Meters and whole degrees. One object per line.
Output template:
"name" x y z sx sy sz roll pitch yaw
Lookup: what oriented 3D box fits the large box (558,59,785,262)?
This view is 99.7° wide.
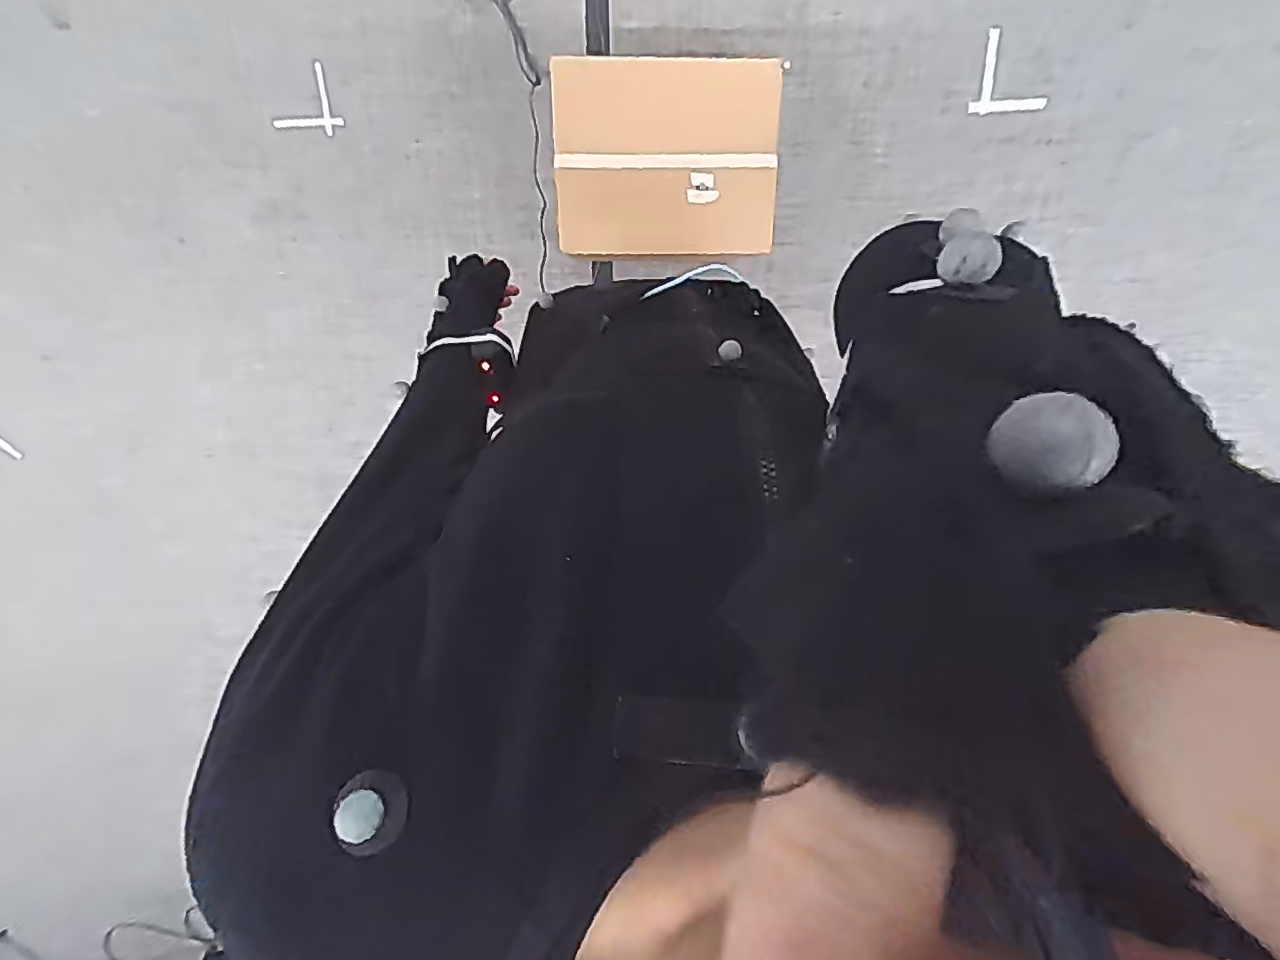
"large box" 0.047 -0.630 1.127 0.408 0.320 0.320 0 111 -3
